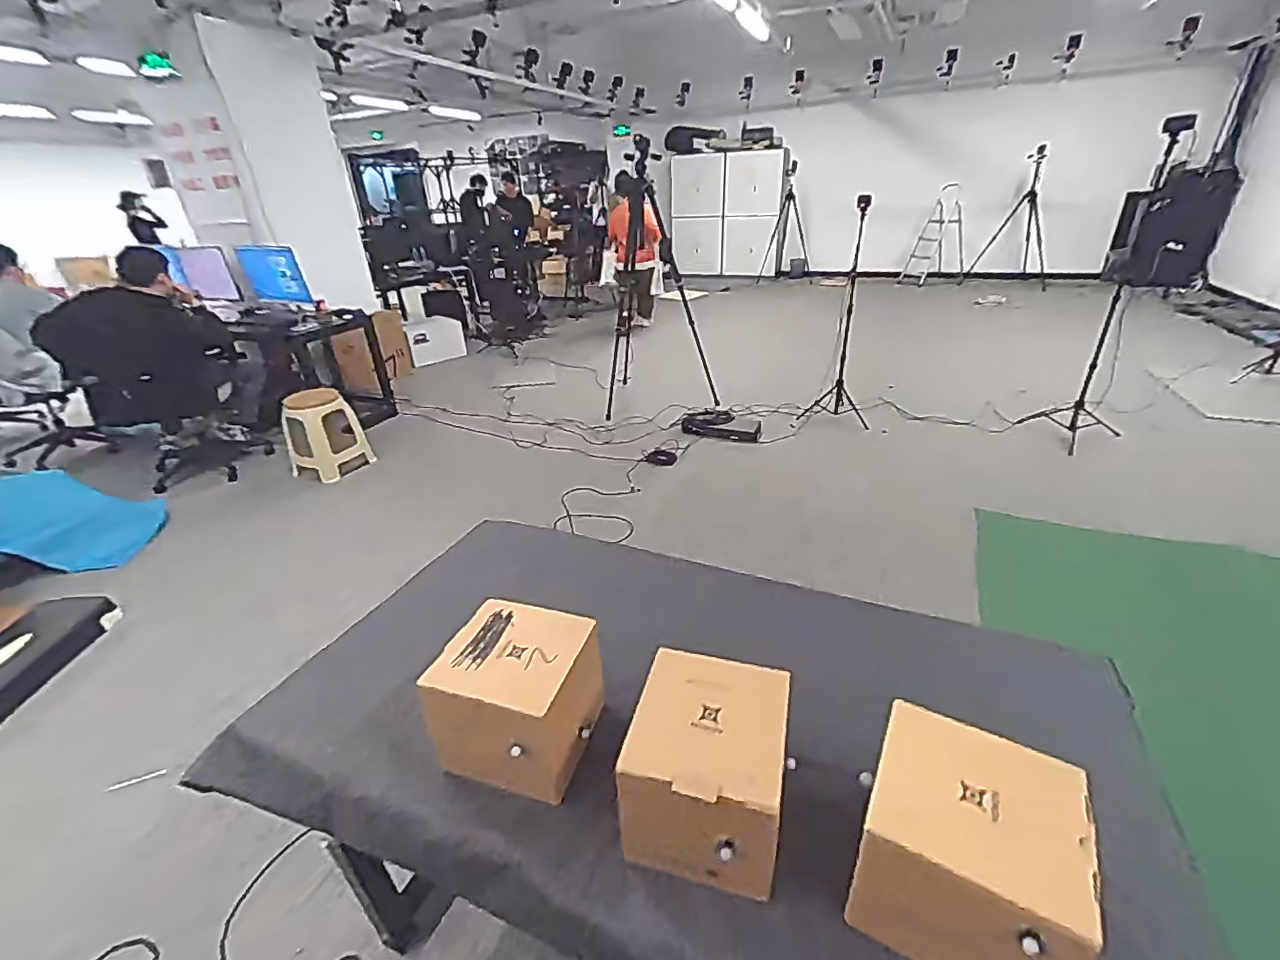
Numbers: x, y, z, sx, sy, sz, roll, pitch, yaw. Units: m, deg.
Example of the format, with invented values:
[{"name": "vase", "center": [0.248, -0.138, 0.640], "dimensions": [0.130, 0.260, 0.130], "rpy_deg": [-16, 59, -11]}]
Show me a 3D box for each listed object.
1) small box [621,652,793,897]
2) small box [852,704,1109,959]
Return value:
[{"name": "small box", "center": [0.085, 0.338, 0.635], "dimensions": [0.168, 0.176, 0.179], "rpy_deg": [6, 28, 15]}, {"name": "small box", "center": [0.326, 0.373, 0.544], "dimensions": [0.179, 0.176, 0.168], "rpy_deg": [14, 31, 29]}]
